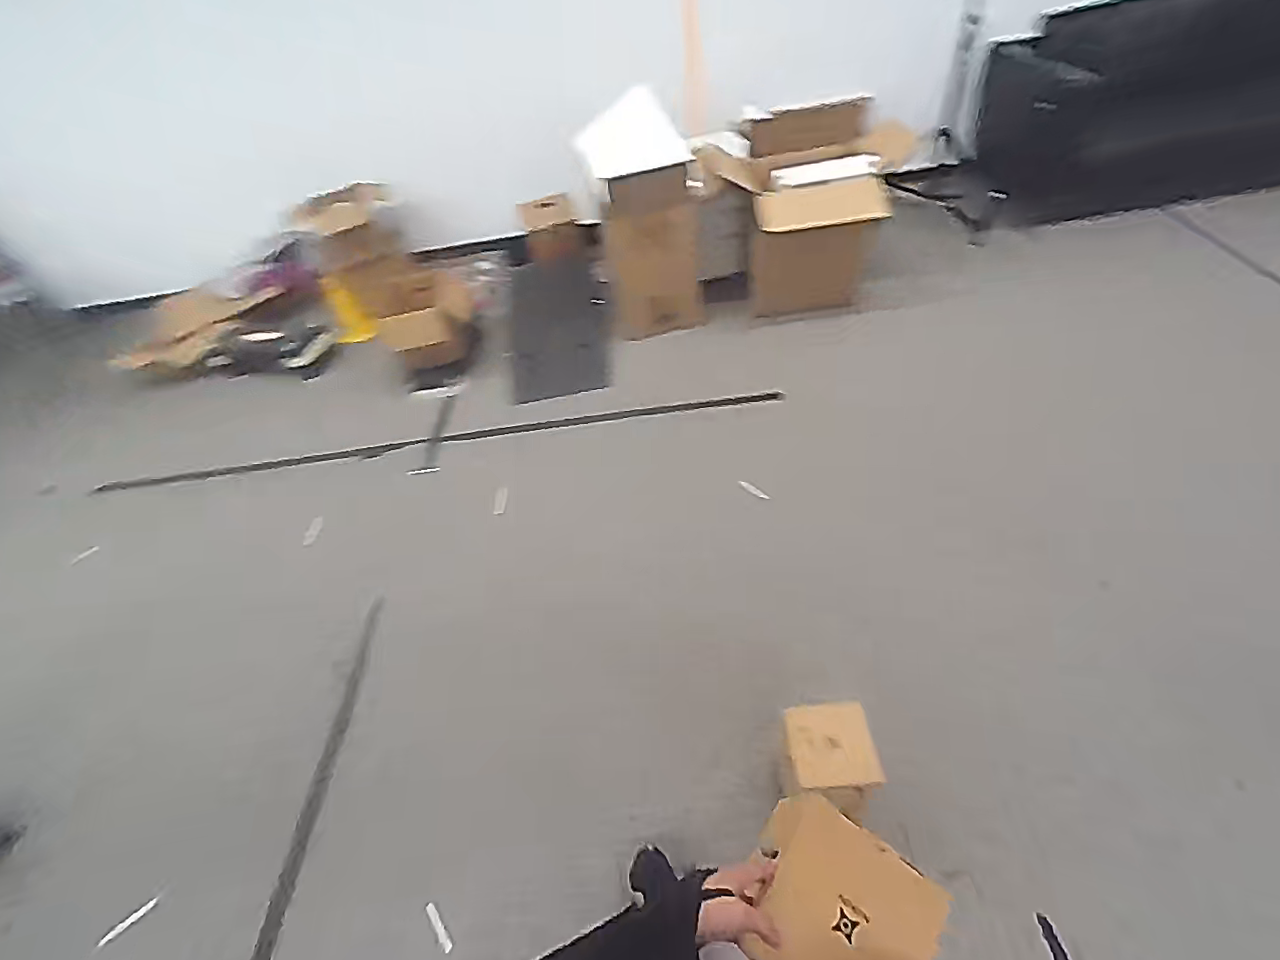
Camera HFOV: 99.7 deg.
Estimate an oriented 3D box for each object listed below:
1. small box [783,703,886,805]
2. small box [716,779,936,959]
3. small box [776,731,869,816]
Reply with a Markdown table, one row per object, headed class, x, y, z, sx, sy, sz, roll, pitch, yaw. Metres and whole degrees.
| class | x | y | z | sx | sy | sz | roll | pitch | yaw |
| --- | --- | --- | --- | --- | --- | --- | --- | --- | --- |
| small box | 0.427 | 0.620 | 1.218 | 0.179 | 0.176 | 0.168 | -7 | 46 | 6 |
| small box | 0.201 | 0.490 | 0.627 | 0.168 | 0.176 | 0.179 | 31 | 59 | 18 |
| small box | 0.442 | 0.731 | 1.338 | 0.179 | 0.176 | 0.168 | -6 | 46 | 5 |
